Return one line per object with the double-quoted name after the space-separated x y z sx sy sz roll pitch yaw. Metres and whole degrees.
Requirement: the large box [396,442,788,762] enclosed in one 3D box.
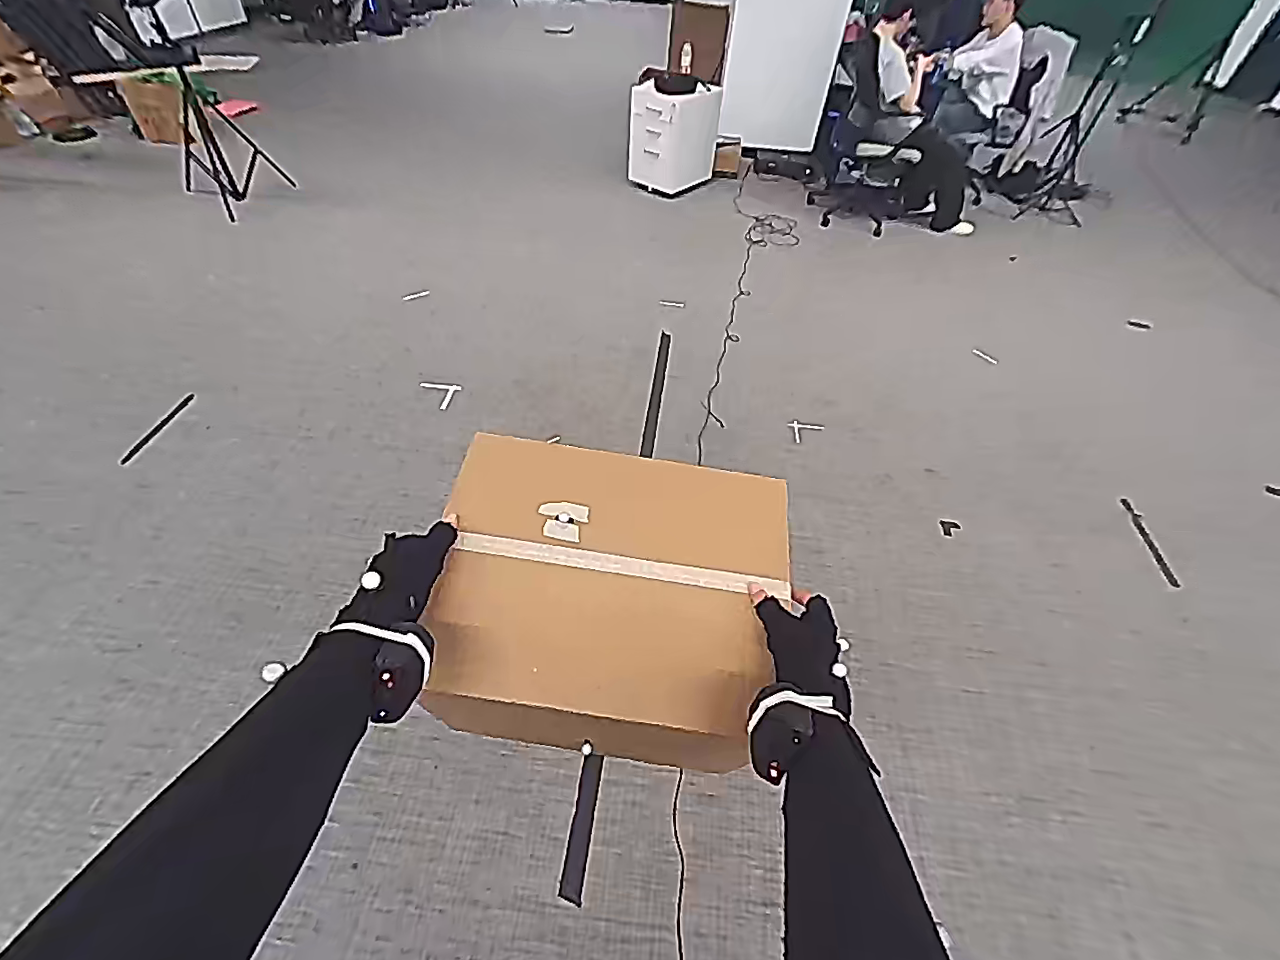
-0.041 0.183 0.744 0.408 0.320 0.320 9 56 0 "large box"
